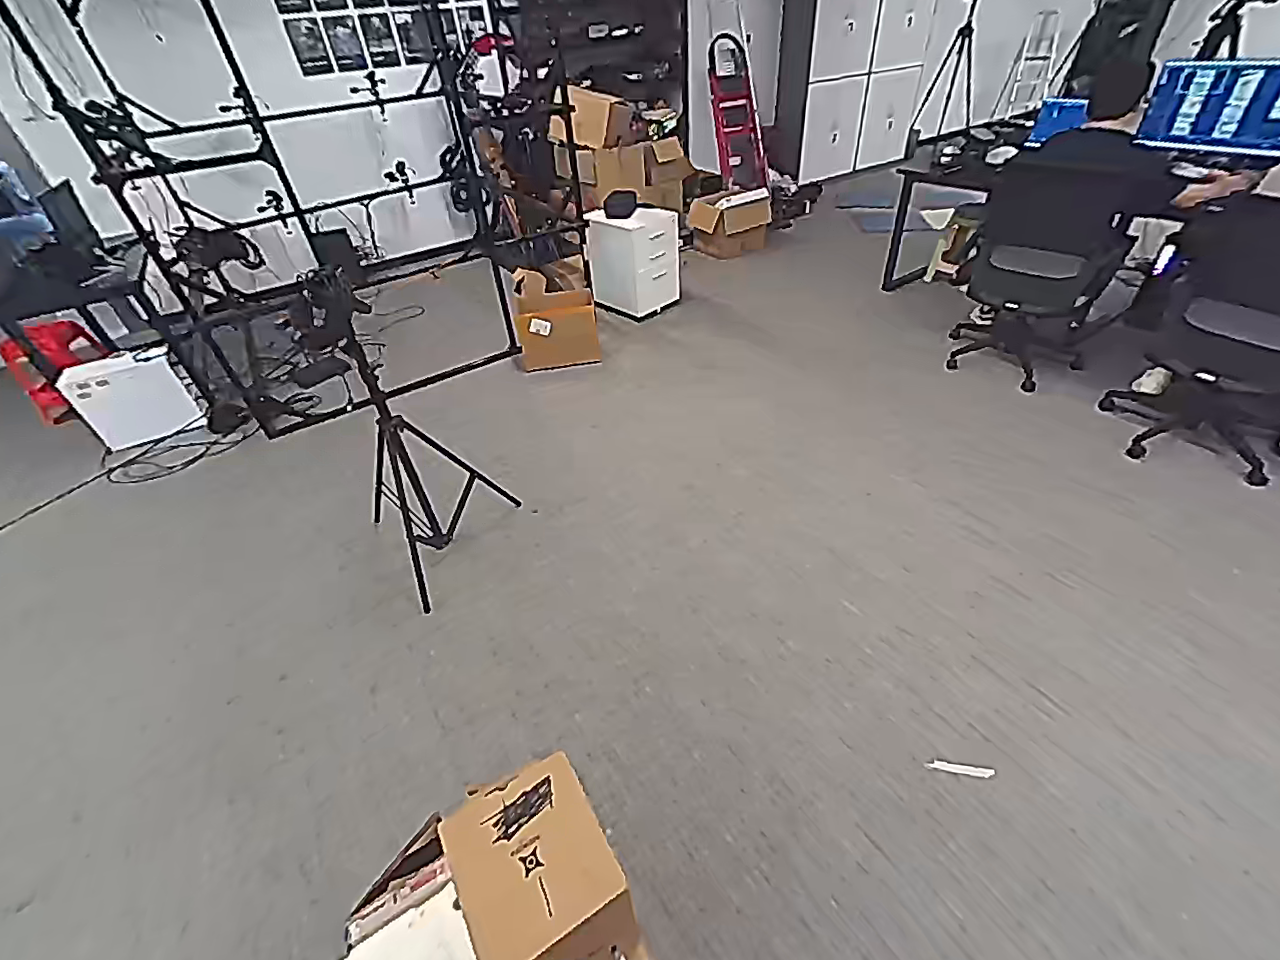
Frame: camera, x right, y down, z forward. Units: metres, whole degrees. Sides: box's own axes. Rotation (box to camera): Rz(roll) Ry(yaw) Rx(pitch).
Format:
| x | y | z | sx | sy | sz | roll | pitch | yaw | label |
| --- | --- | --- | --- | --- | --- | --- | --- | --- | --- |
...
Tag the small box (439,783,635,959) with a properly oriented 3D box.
| x | y | z | sx | sy | sz | roll | pitch | yaw | label |
| --- | --- | --- | --- | --- | --- | --- | --- | --- | --- |
| -0.119 | 0.517 | 0.649 | 0.168 | 0.176 | 0.179 | -23 | 45 | -23 | small box |
